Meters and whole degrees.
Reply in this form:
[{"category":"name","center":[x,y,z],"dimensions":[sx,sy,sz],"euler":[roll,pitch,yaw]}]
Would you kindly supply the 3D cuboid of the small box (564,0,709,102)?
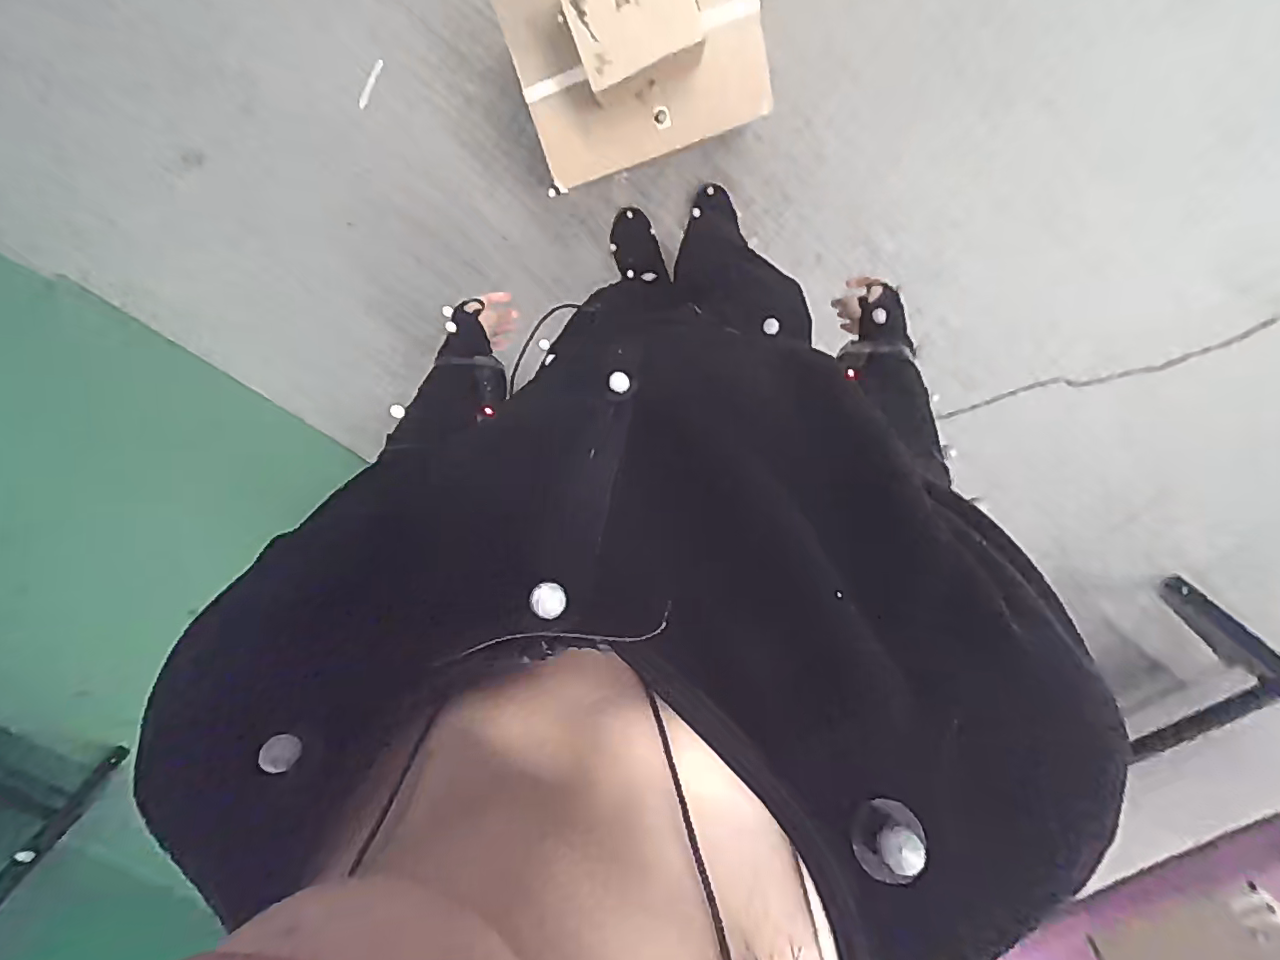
[{"category":"small box","center":[-0.013,-0.689,0.791],"dimensions":[0.179,0.176,0.168],"euler":[-18,115,11]}]
